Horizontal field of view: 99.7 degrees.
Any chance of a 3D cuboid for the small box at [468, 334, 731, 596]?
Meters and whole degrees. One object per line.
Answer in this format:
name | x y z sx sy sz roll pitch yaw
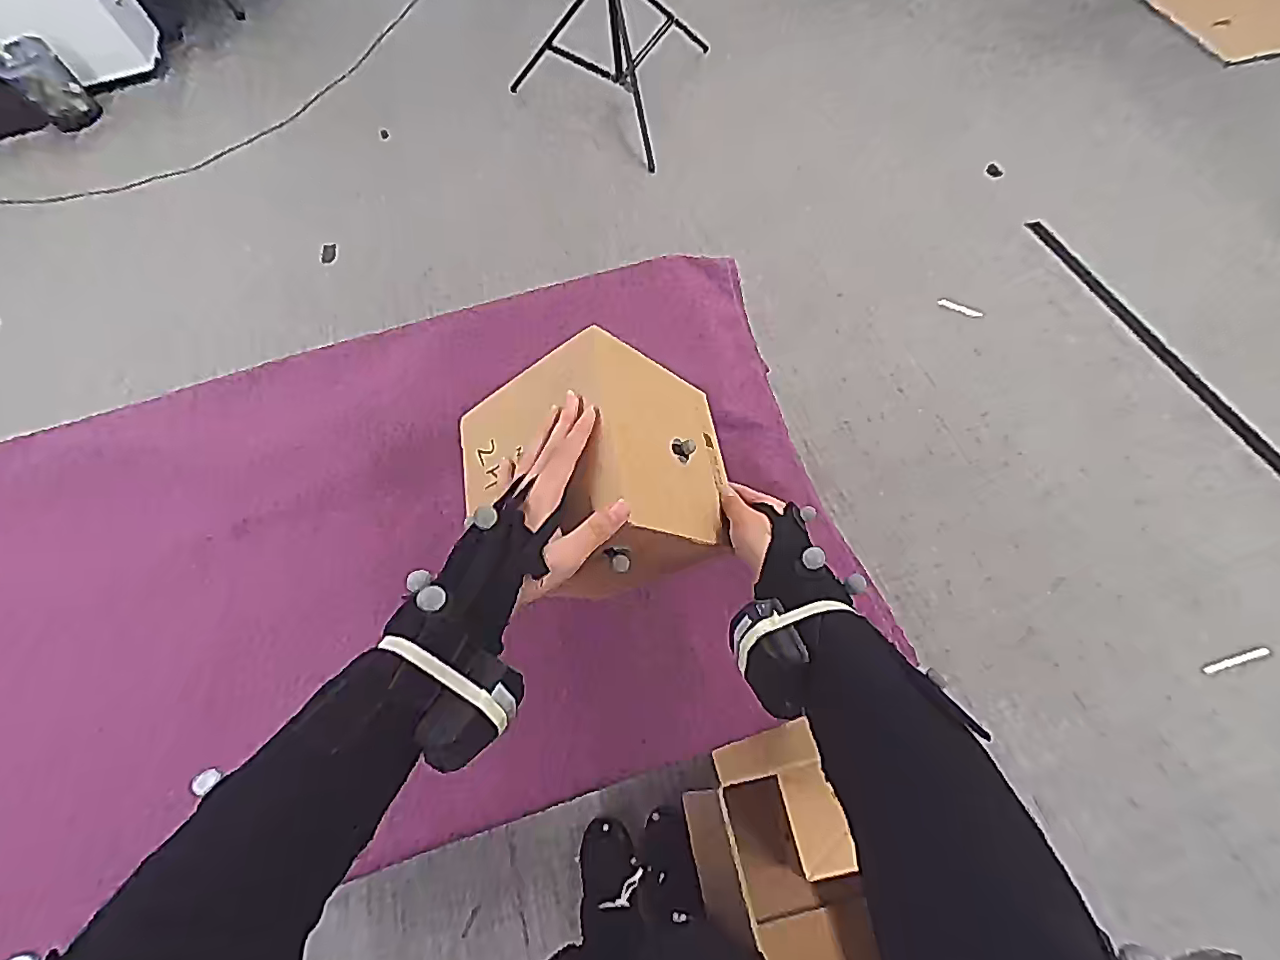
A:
small box | -0.032 0.004 0.498 0.179 0.176 0.168 -25 63 30
